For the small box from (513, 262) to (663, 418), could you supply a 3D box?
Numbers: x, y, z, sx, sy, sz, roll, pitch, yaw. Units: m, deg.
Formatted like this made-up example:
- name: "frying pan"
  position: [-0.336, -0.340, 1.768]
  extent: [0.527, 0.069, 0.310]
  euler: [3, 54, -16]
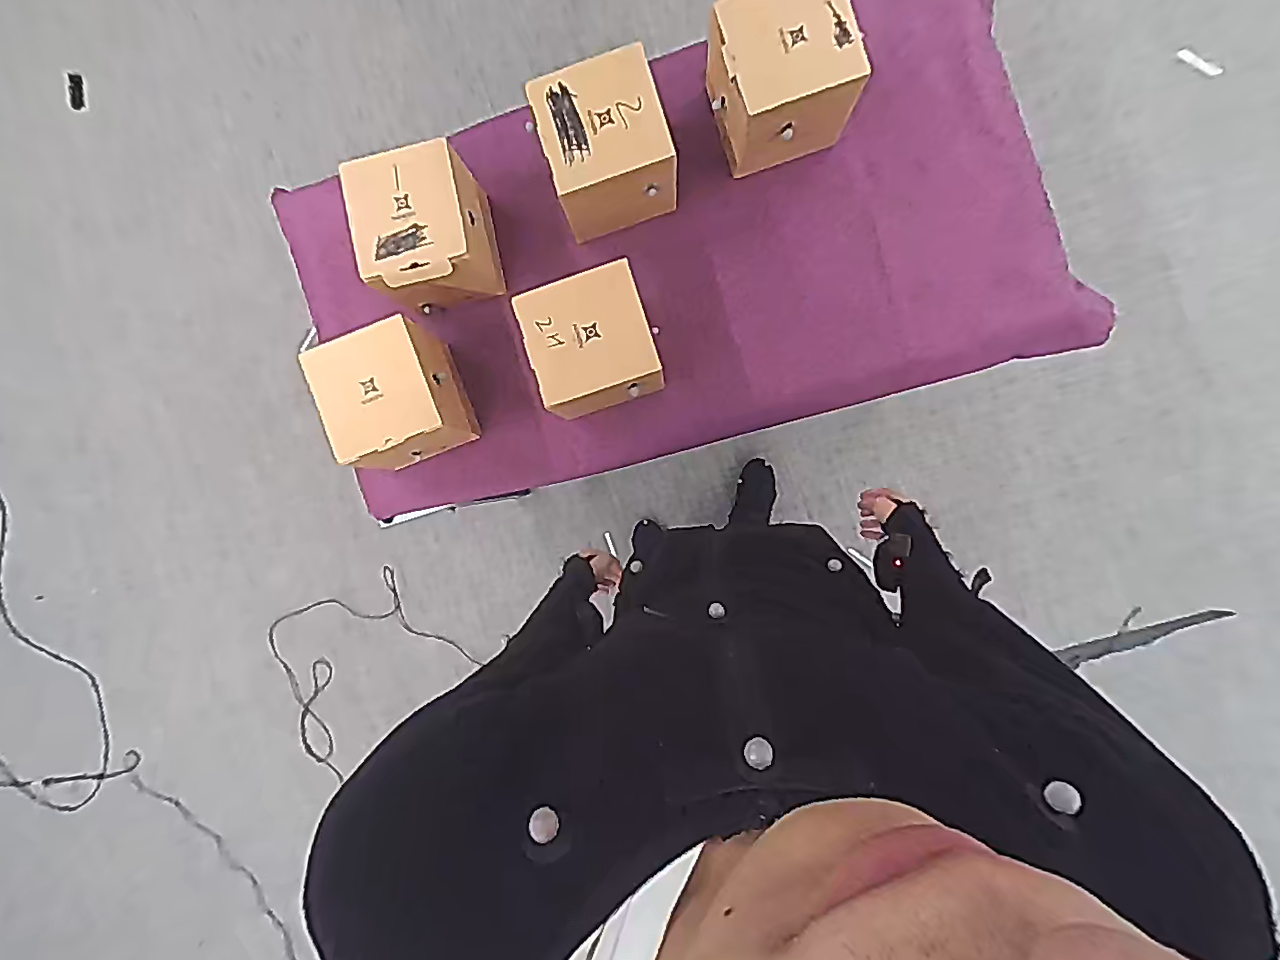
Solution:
- name: "small box"
  position: [-0.069, -0.202, 0.830]
  extent: [0.179, 0.176, 0.168]
  euler: [-17, 89, 4]

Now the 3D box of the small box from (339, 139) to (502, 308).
- name: "small box"
  position: [-0.330, -0.383, 0.848]
  extent: [0.168, 0.176, 0.179]
  euler: [-12, 90, 3]

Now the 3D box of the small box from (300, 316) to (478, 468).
- name: "small box"
  position: [-0.382, -0.127, 0.852]
  extent: [0.168, 0.176, 0.179]
  euler: [-21, 90, 2]
